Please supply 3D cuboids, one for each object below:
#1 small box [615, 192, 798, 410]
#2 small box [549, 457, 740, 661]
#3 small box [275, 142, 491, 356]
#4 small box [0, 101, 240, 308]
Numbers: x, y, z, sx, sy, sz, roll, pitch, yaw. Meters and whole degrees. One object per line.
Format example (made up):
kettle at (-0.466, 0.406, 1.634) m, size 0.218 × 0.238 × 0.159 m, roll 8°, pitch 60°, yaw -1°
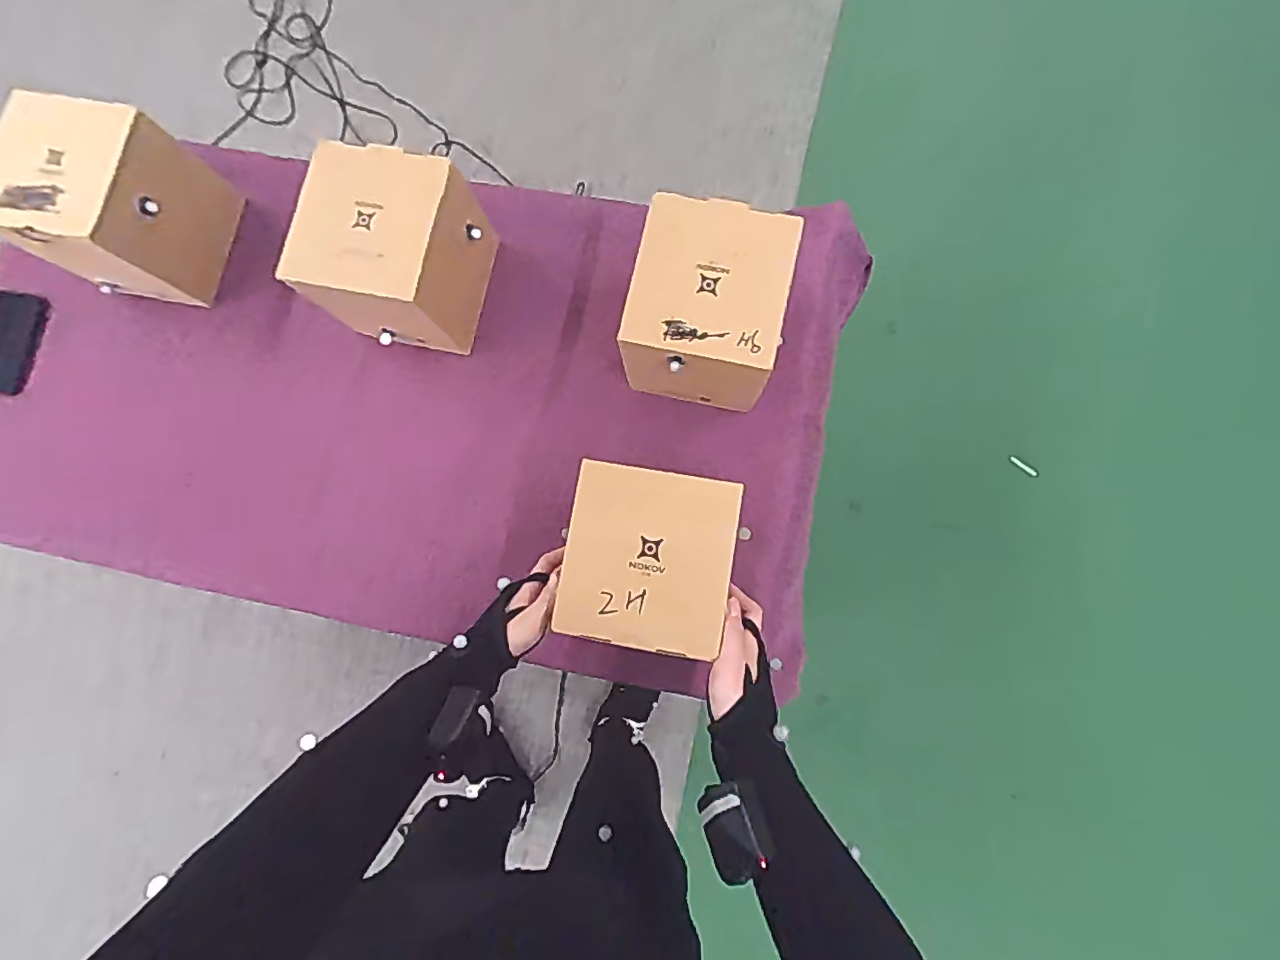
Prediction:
small box at (0.075, -0.201, 0.647) m, size 0.168 × 0.176 × 0.179 m, roll 12°, pitch 83°, yaw 6°
small box at (0.010, 0.085, 0.607) m, size 0.168 × 0.176 × 0.179 m, roll 9°, pitch 83°, yaw 6°
small box at (-0.306, -0.279, 0.684) m, size 0.168 × 0.176 × 0.179 m, roll 11°, pitch 84°, yaw 6°
small box at (-0.682, -0.350, 0.716) m, size 0.168 × 0.176 × 0.179 m, roll 10°, pitch 82°, yaw 5°
